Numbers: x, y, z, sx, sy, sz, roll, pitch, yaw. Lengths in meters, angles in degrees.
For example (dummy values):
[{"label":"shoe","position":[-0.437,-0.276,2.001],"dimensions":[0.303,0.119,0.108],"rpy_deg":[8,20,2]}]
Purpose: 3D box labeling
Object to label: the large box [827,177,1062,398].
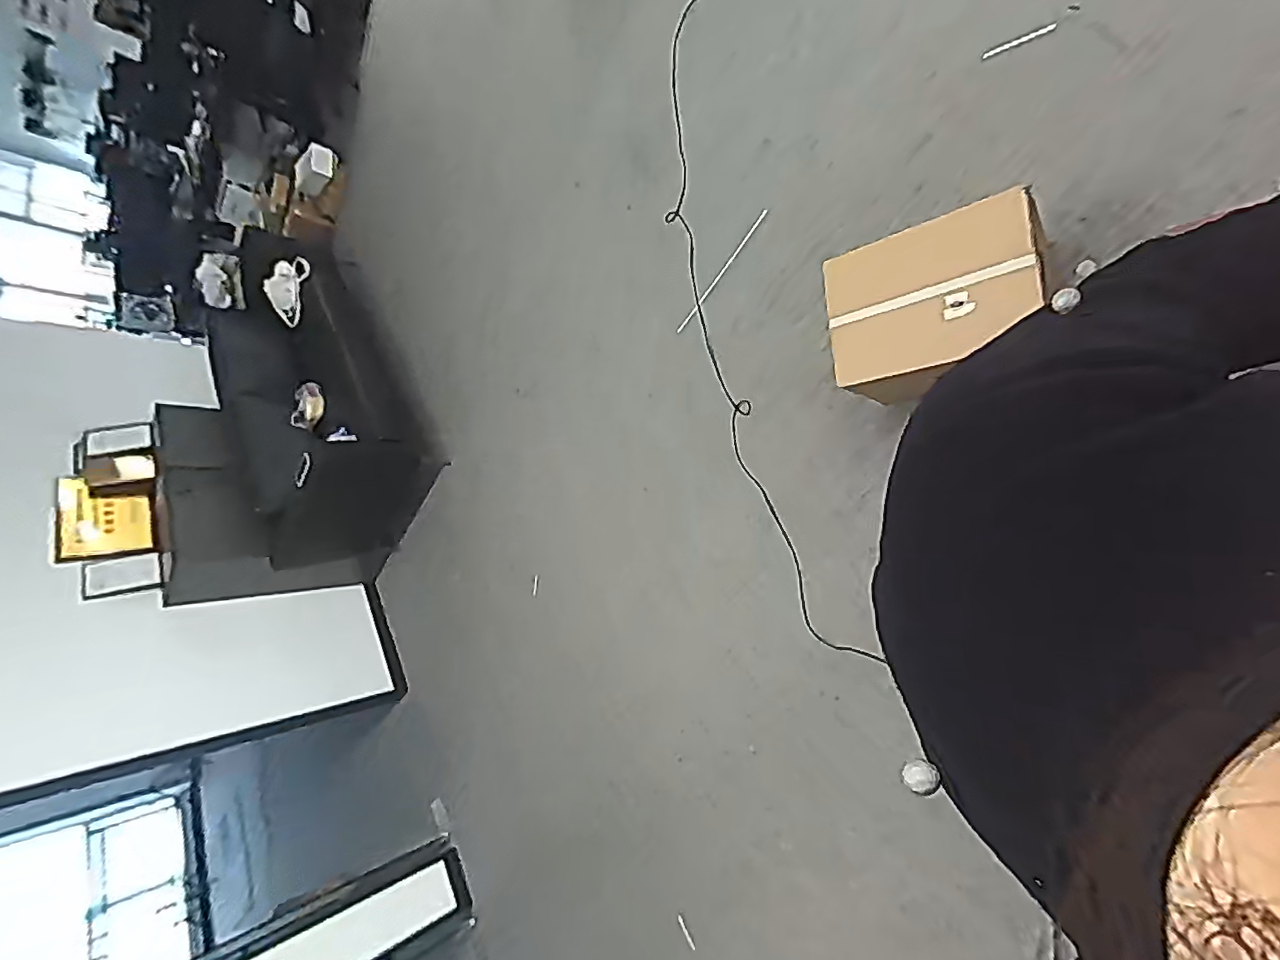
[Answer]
[{"label":"large box","position":[0.702,-0.401,1.258],"dimensions":[0.408,0.320,0.320],"rpy_deg":[-9,84,41]}]
